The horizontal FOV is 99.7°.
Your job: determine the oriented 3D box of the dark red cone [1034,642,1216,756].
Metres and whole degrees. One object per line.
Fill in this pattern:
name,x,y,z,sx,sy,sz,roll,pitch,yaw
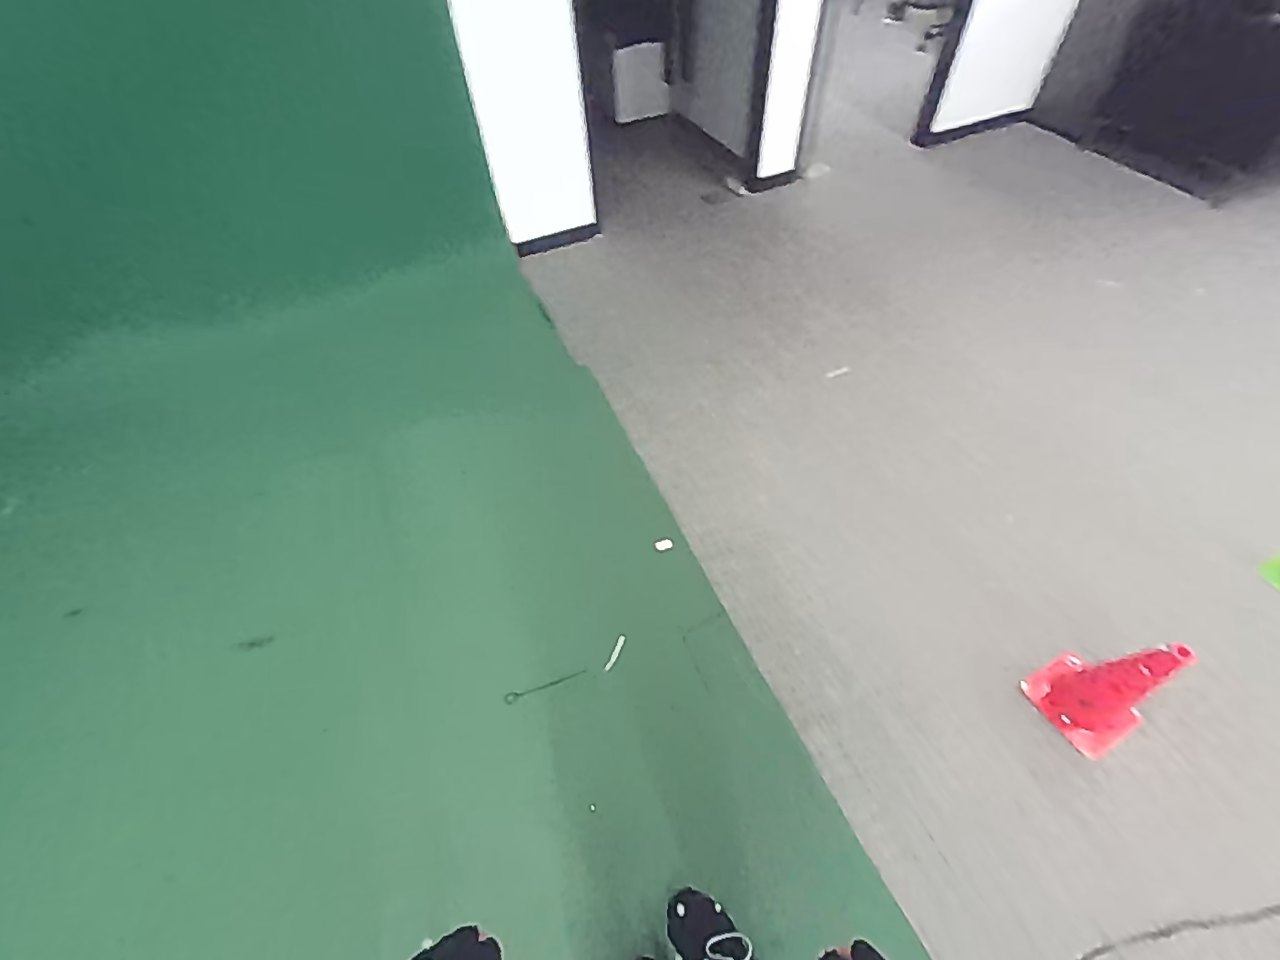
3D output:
dark red cone,1.095,0.442,1.194,0.201,0.394,0.202,-26,55,-14

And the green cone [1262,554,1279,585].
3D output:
green cone,1.883,0.185,1.370,0.200,0.368,0.202,-22,55,-13
